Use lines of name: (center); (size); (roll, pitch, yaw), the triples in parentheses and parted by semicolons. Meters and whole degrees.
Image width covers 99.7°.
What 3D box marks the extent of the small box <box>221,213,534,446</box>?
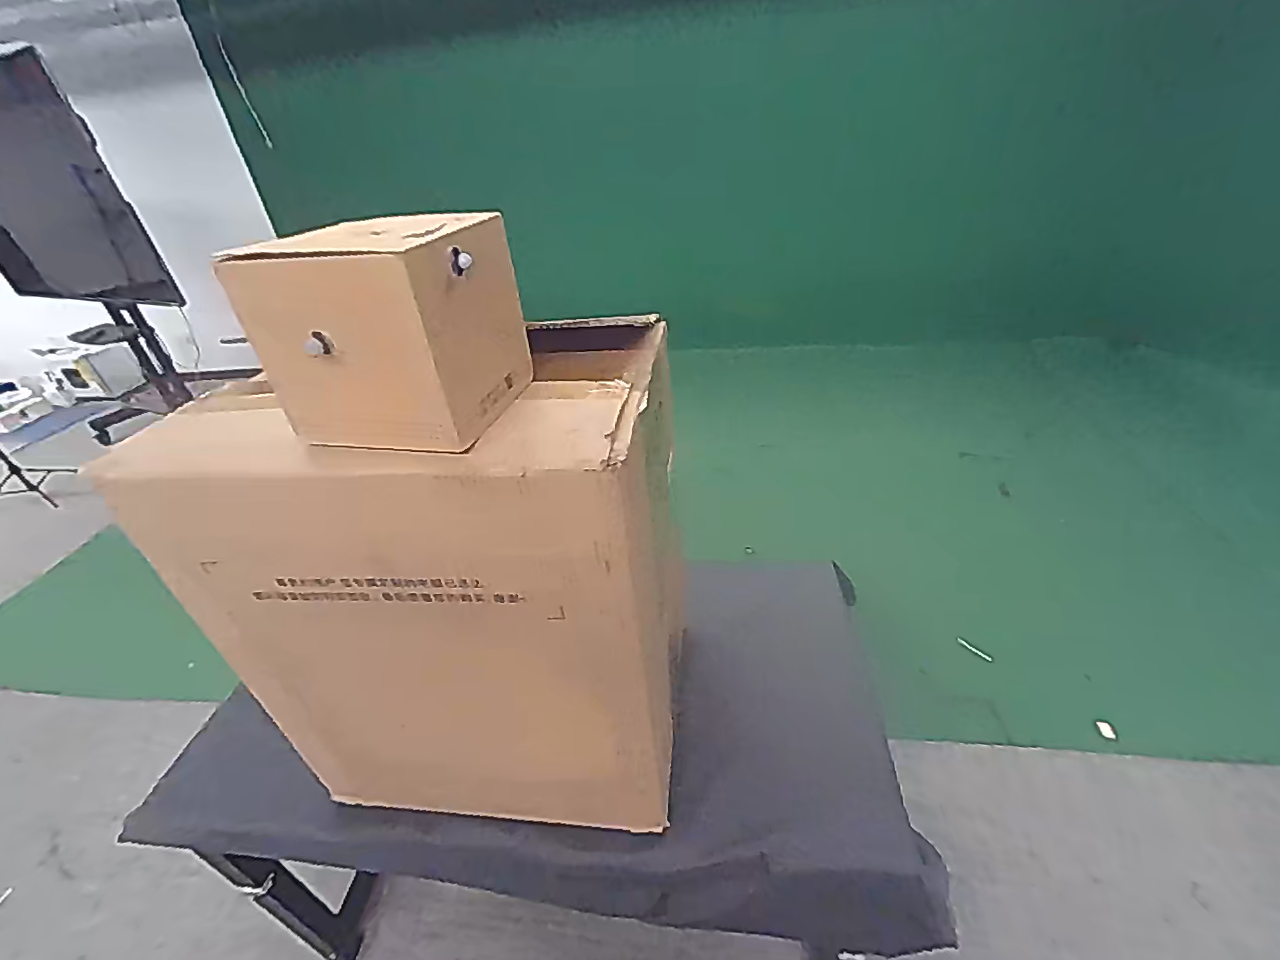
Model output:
small box: (-0.223, -0.143, 0.511); (0.179, 0.176, 0.168); (3, 35, 14)
